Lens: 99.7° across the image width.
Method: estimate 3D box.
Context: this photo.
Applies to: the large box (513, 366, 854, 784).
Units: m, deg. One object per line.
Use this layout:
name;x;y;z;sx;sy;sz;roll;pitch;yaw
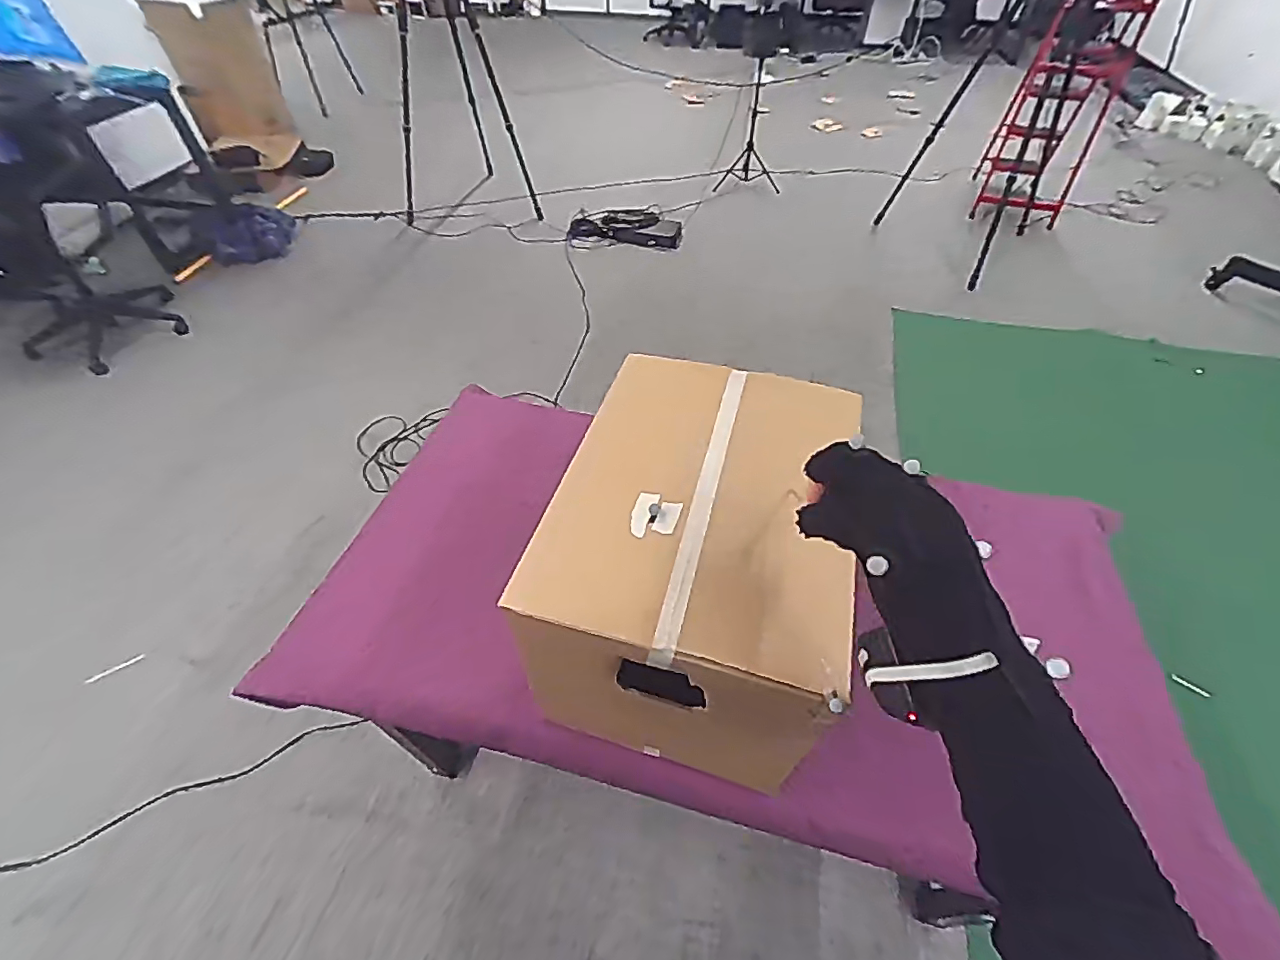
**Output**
large box;0.074;0.113;0.719;0.320;0.320;0.408;13;50;11
